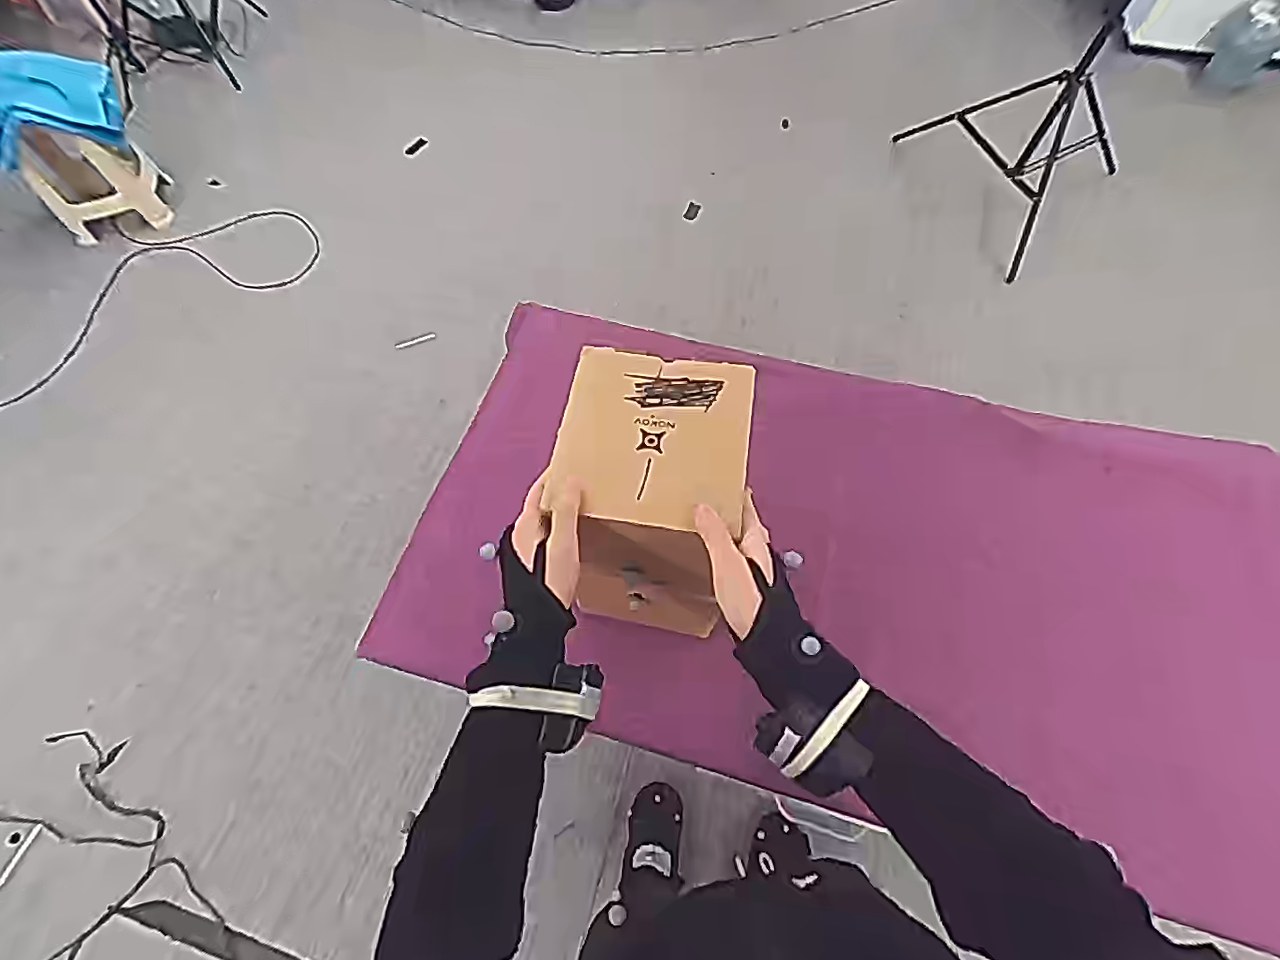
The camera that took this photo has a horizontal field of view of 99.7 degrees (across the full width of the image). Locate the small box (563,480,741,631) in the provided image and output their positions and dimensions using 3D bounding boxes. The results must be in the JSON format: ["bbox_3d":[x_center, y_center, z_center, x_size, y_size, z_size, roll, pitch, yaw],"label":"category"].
[{"bbox_3d":[0.019,0.082,0.682,0.179,0.176,0.168,11,63,6],"label":"small box"}]

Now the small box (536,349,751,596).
[{"bbox_3d":[0.009,-0.001,0.540,0.168,0.176,0.179,8,63,6],"label":"small box"}]
